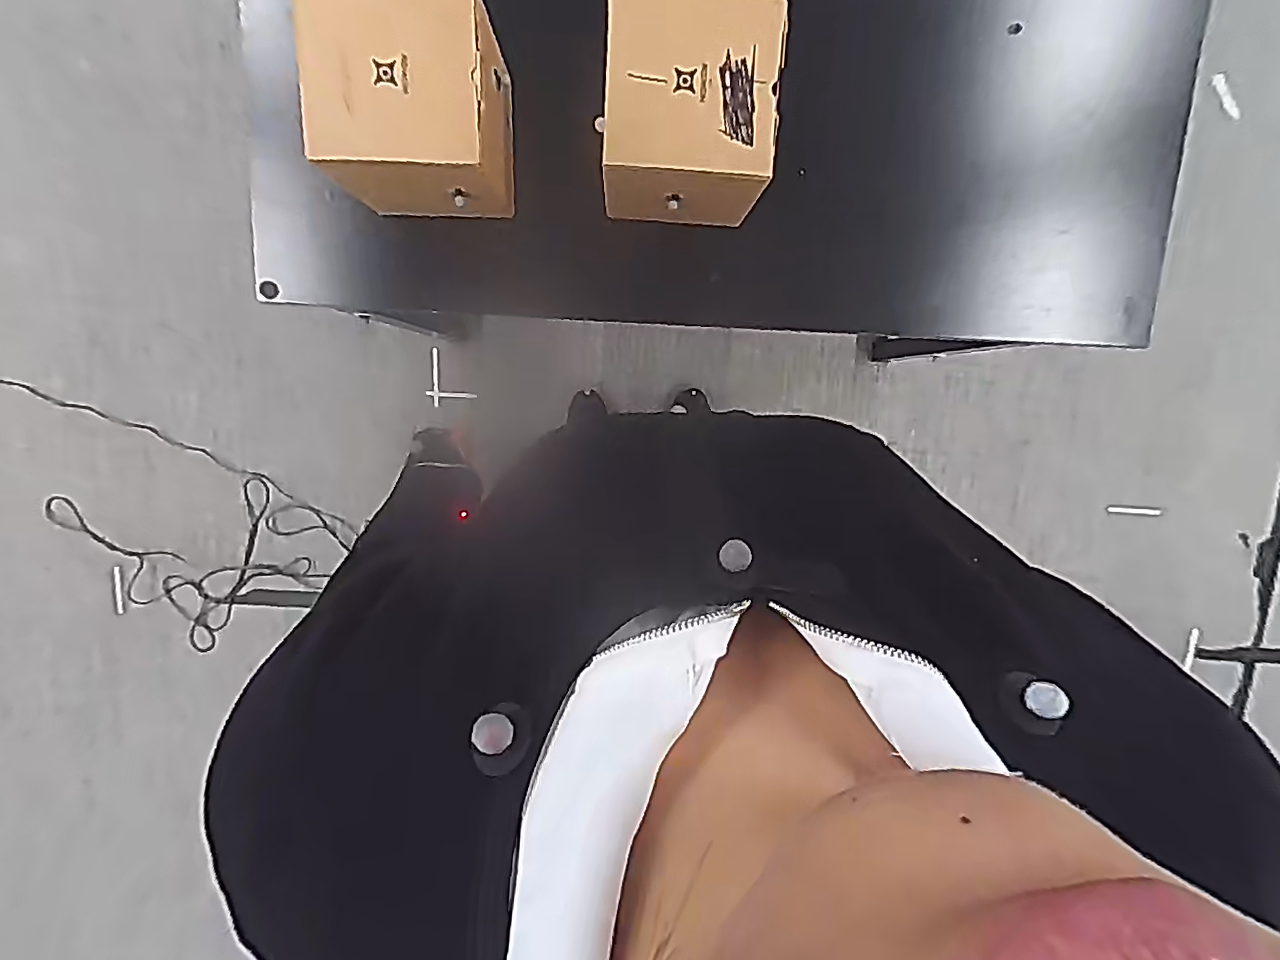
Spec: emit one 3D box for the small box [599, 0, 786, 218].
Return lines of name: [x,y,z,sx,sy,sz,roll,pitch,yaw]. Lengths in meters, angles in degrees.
small box: [0.049,-0.411,0.614,0.179,0.176,0.168,4,99,-1]

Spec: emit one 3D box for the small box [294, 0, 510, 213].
small box: [-0.246,-0.414,0.606,0.179,0.176,0.168,0,99,-1]
